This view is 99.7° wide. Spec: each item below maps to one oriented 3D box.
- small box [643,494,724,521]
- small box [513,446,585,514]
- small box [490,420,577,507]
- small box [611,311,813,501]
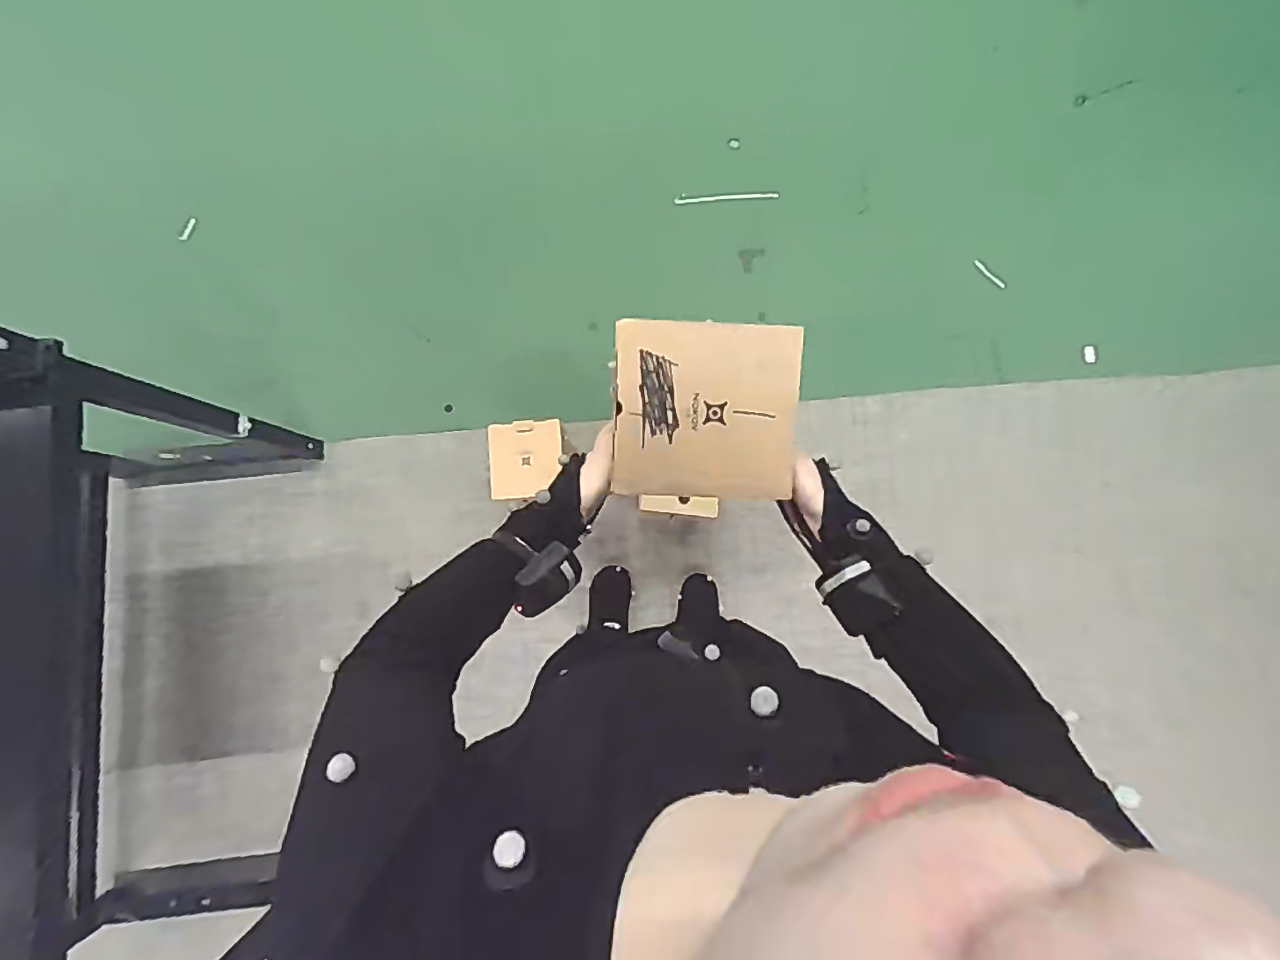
[{"bbox_3d":[0.102,0.006,1.269,0.179,0.176,0.168,6,84,0],"label":"small box"},{"bbox_3d":[-0.243,-0.003,1.437,0.168,0.176,0.179,-6,83,-1],"label":"small box"},{"bbox_3d":[-0.245,-0.031,1.276,0.168,0.176,0.179,-6,81,0],"label":"small box"},{"bbox_3d":[0.063,-0.074,0.566,0.179,0.176,0.168,2,98,-1],"label":"small box"}]
